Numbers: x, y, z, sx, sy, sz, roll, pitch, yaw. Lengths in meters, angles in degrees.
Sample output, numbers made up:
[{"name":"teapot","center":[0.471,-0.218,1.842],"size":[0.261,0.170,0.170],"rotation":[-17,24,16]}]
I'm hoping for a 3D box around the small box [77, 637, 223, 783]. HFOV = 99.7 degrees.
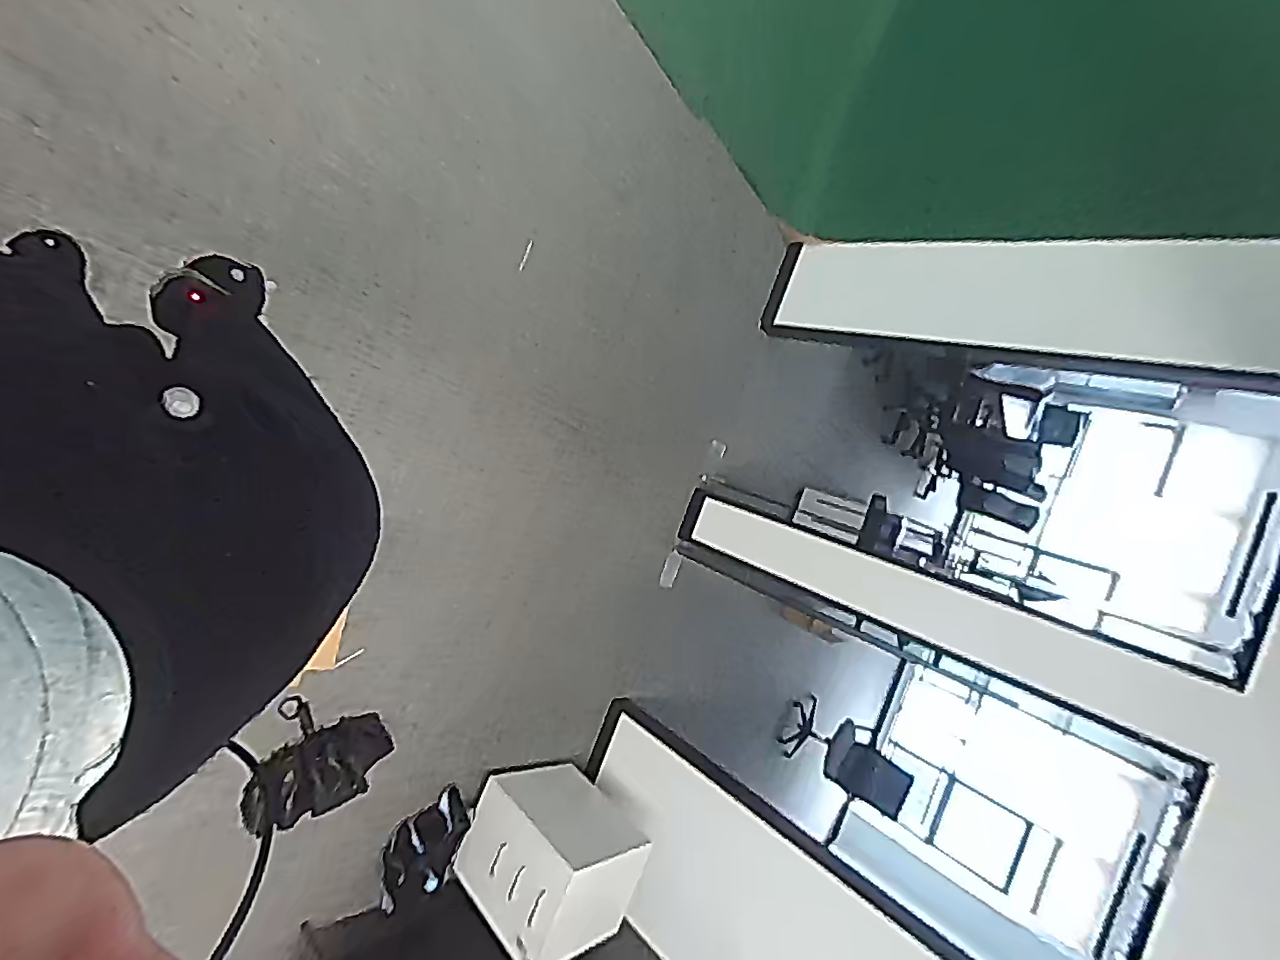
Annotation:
[{"name":"small box","center":[-0.921,0.417,1.013],"size":[0.179,0.176,0.168],"rotation":[6,104,-51]}]
